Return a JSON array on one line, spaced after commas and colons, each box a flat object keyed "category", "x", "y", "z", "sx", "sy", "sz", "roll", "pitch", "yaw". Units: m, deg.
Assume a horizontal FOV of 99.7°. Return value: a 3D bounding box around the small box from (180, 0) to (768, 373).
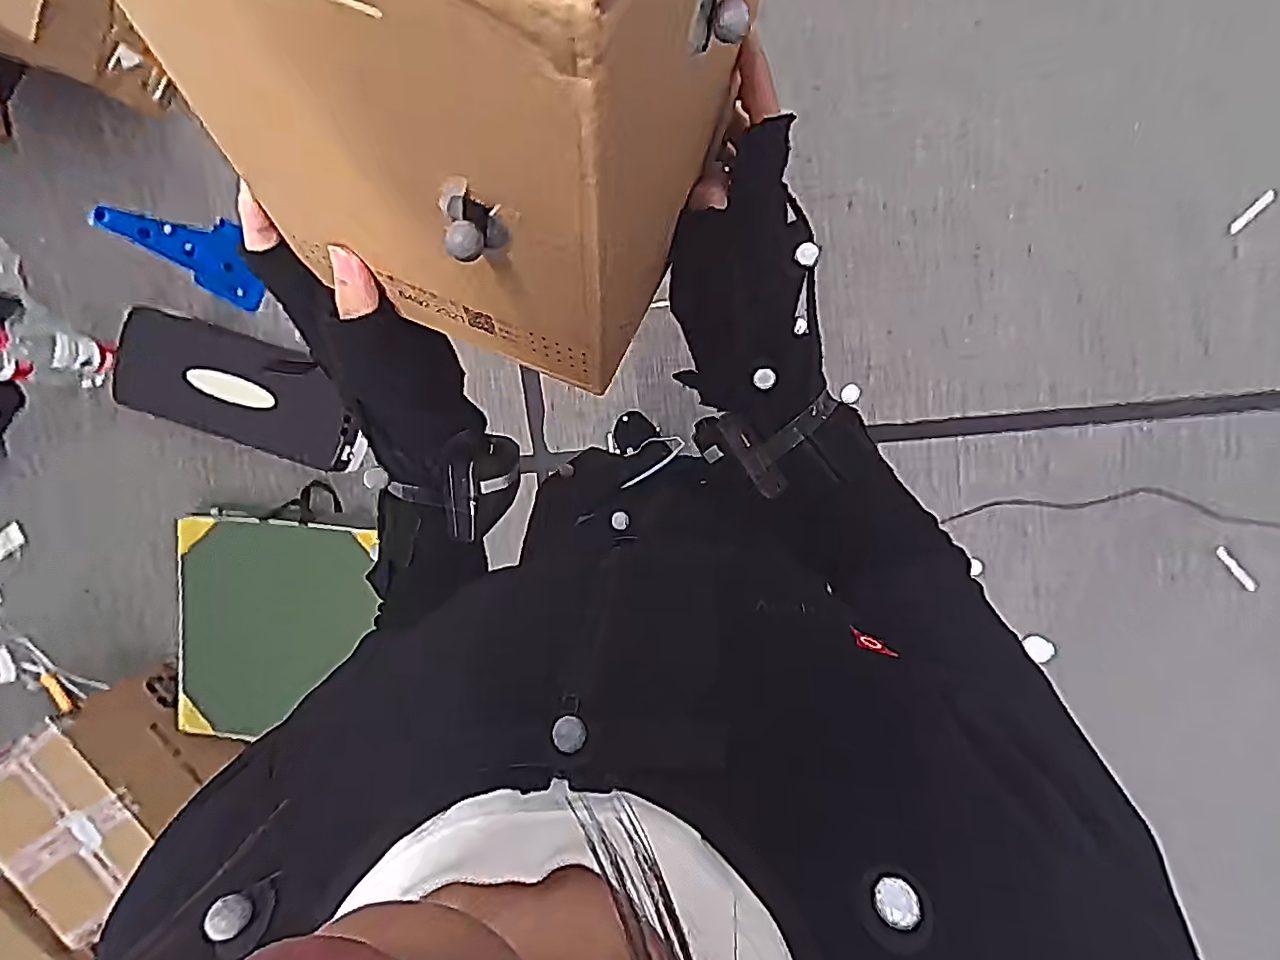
[{"category": "small box", "x": -0.046, "y": -0.179, "z": 0.244, "sx": 0.168, "sy": 0.176, "sz": 0.179, "roll": 24, "pitch": 69, "yaw": 4}]
